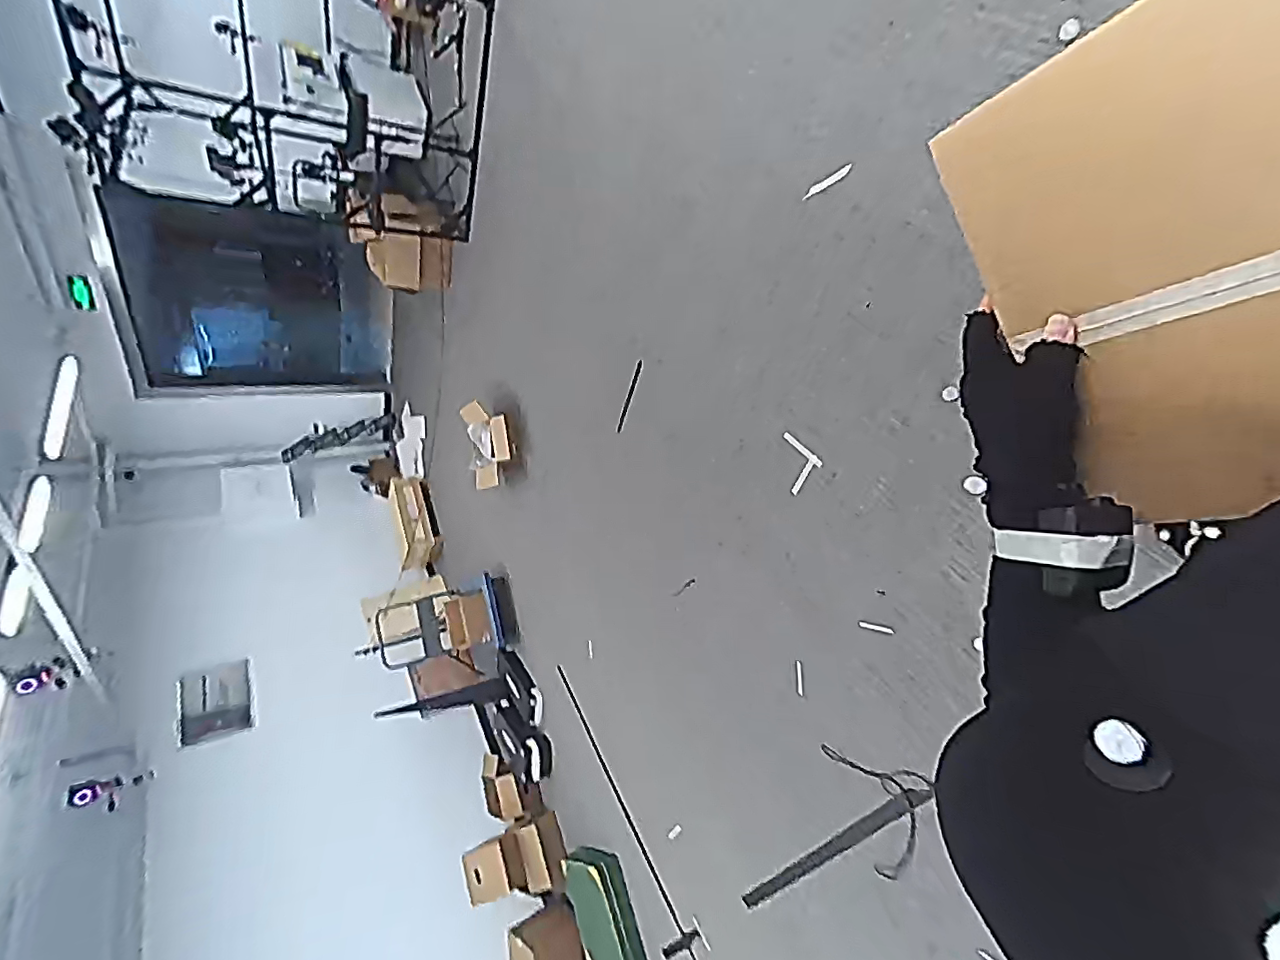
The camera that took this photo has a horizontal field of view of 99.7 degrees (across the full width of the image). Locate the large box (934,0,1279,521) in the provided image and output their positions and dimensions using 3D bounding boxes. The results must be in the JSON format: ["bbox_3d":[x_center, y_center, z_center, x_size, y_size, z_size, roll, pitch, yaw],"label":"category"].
[{"bbox_3d":[0.485,-0.202,0.323,0.408,0.320,0.320,-15,110,56],"label":"large box"}]
